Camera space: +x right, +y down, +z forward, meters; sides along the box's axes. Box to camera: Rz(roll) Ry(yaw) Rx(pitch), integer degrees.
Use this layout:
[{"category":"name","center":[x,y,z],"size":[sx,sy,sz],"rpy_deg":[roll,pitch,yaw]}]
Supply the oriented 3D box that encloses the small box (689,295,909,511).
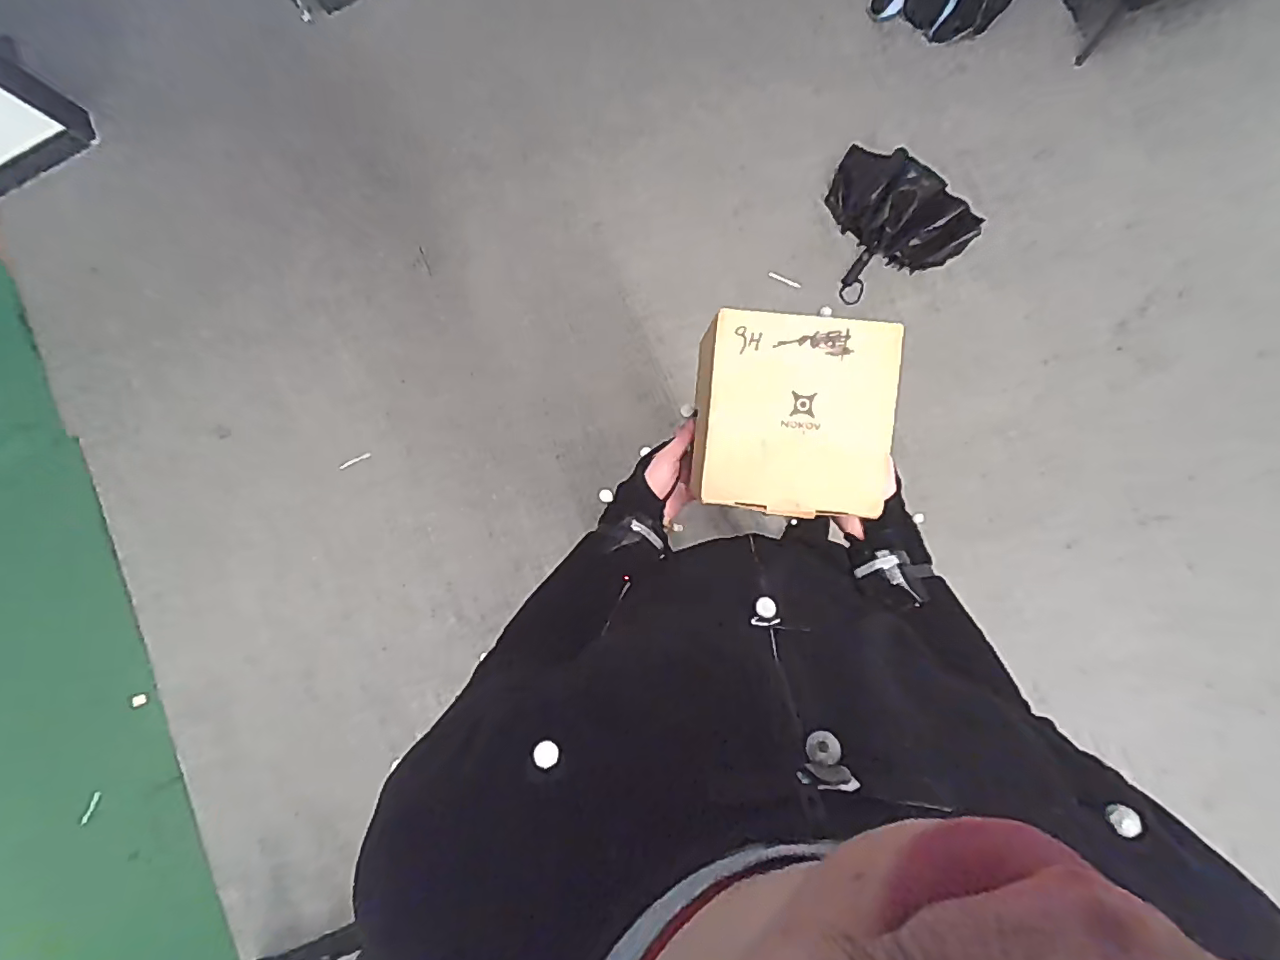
[{"category":"small box","center":[0.143,-0.073,0.552],"size":[0.168,0.176,0.179],"rpy_deg":[5,95,-1]}]
